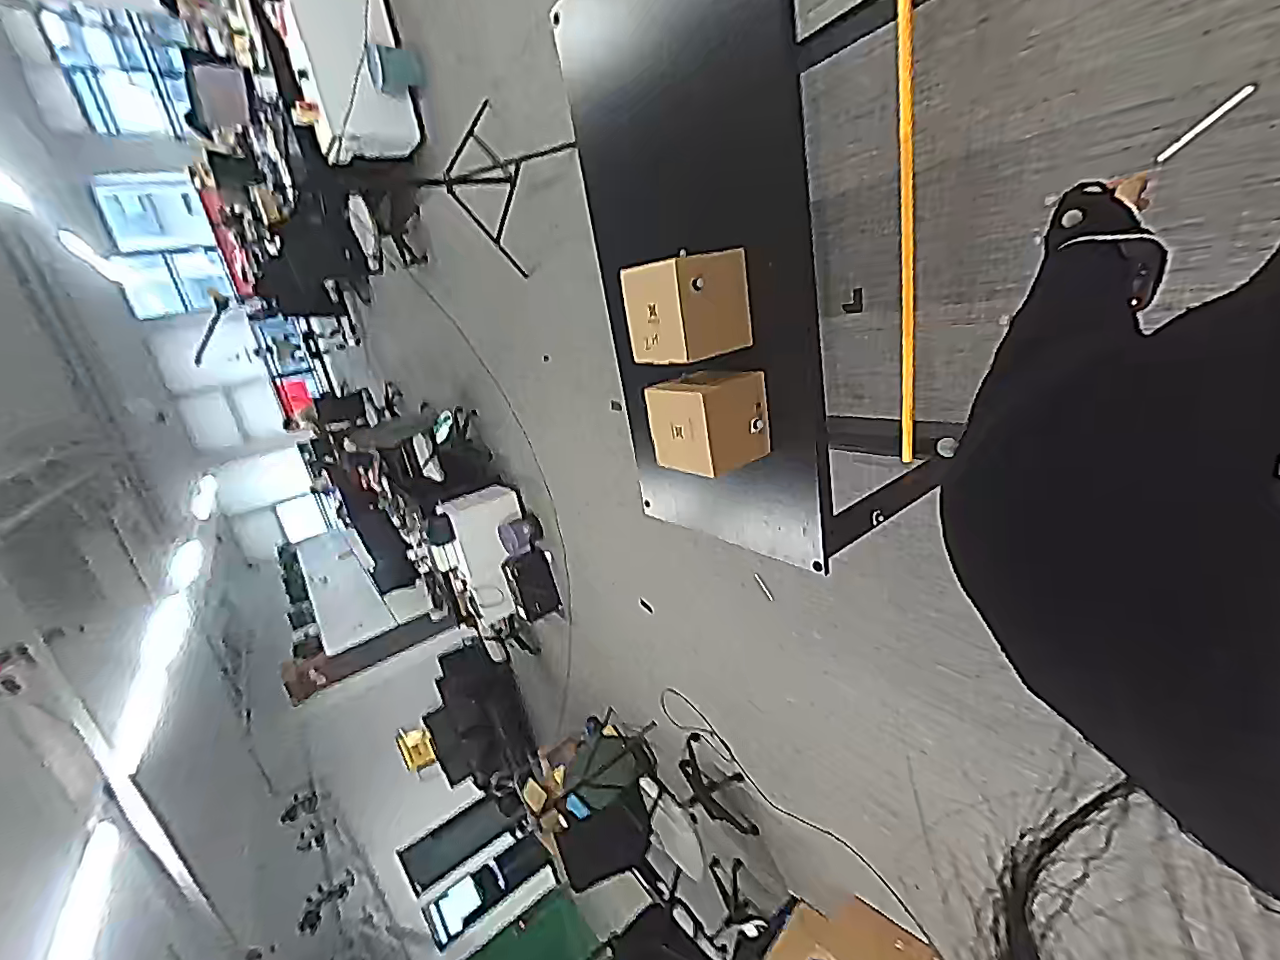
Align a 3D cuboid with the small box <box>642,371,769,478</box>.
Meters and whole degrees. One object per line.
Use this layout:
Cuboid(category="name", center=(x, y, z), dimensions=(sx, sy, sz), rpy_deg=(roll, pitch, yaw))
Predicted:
Cuboid(category="small box", center=(0.132, -0.118, 1.081), dimensions=(0.179, 0.176, 0.168), rpy_deg=(14, 122, 52))
